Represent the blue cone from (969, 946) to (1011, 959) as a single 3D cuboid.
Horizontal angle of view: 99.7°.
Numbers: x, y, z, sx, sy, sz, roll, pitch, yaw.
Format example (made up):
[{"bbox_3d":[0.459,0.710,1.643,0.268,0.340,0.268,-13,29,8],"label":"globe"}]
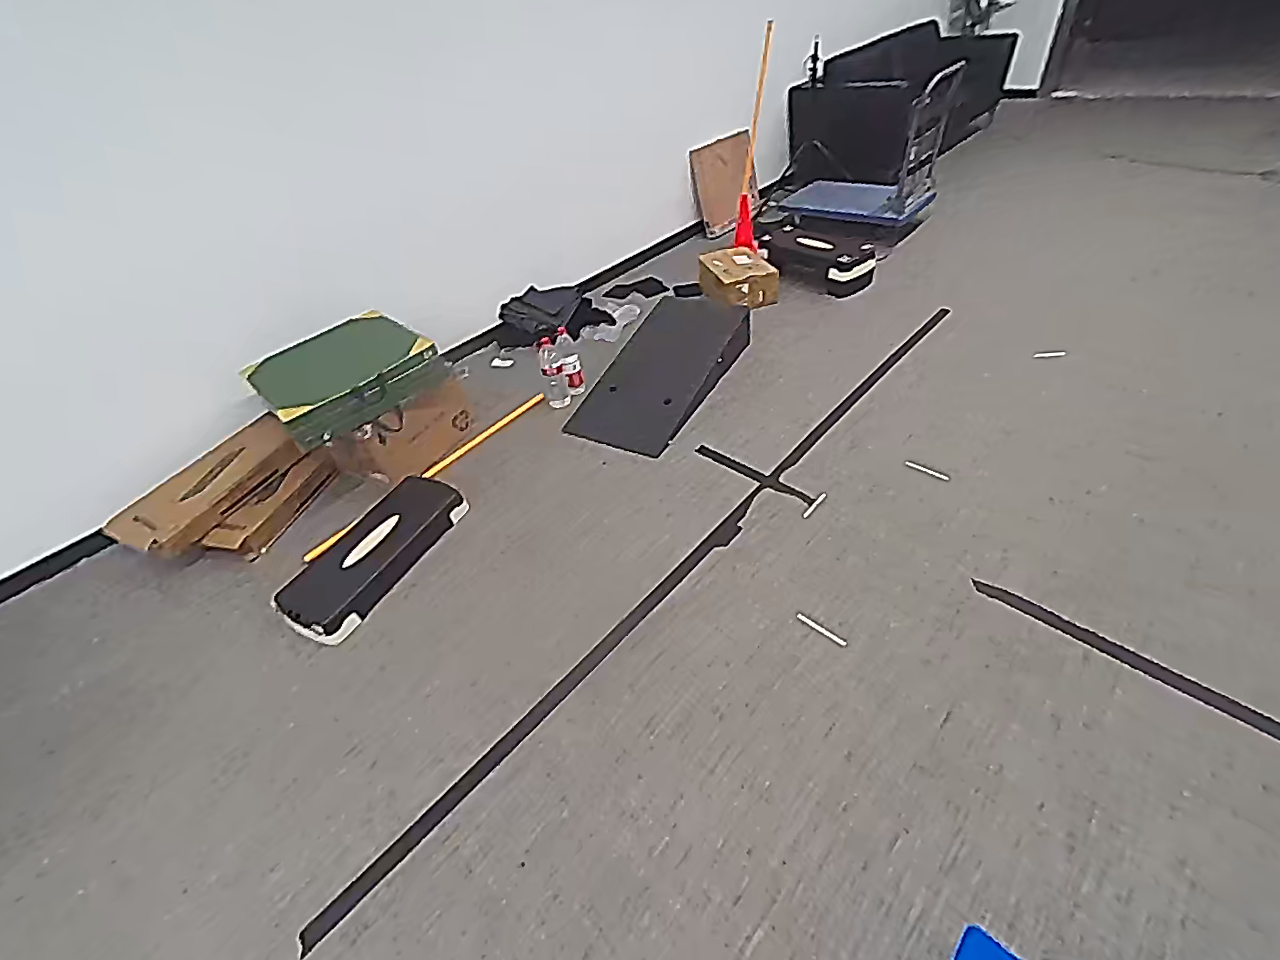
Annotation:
[{"bbox_3d":[0.608,0.814,0.796,0.193,0.380,0.192,30,56,36],"label":"blue cone"}]
